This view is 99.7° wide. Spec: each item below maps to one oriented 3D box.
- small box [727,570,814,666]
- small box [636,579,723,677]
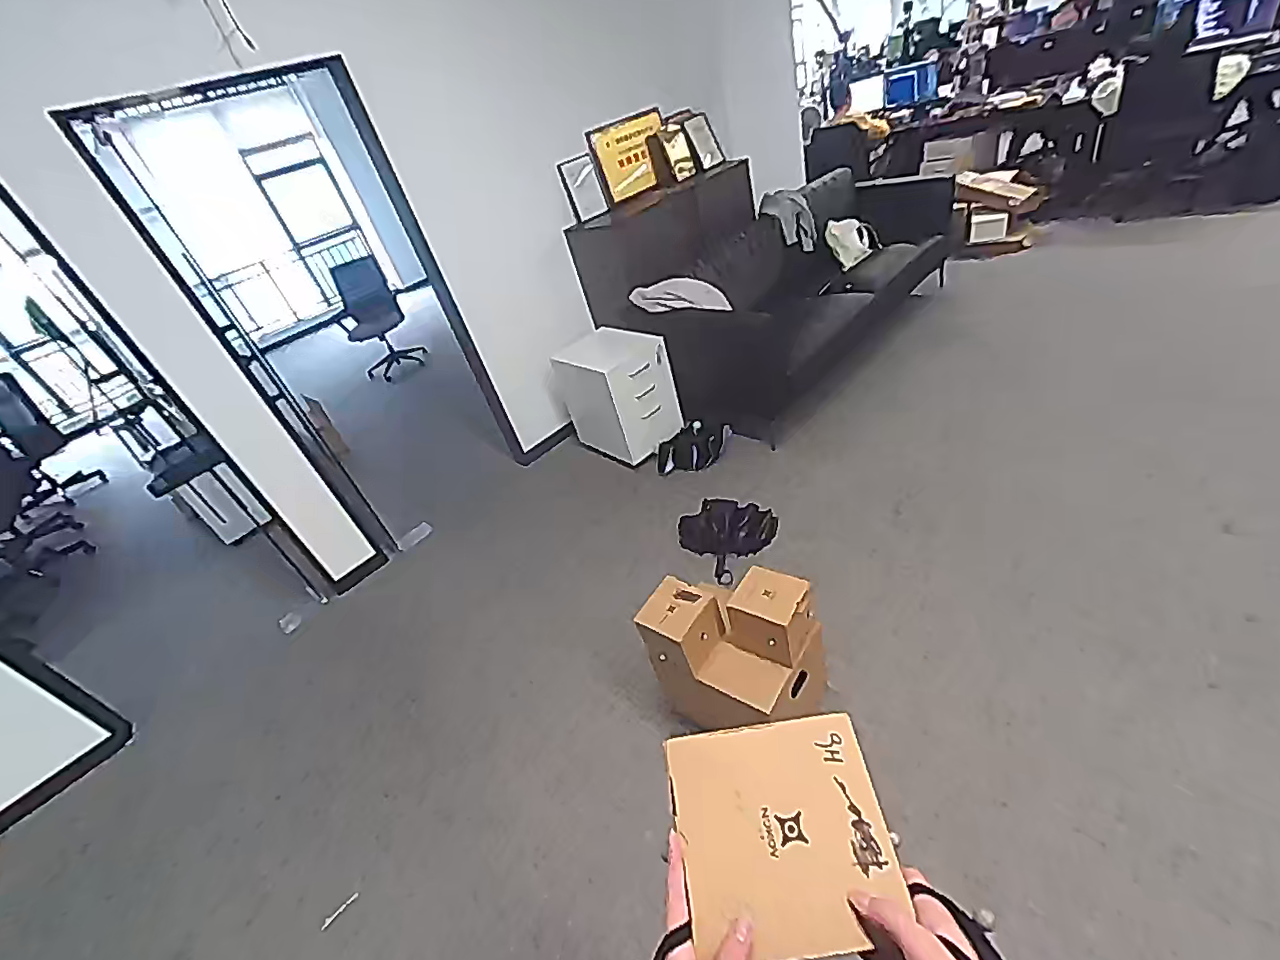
[{"bbox_3d":[0.362,0.379,1.477,0.179,0.176,0.168,10,40,37],"label":"small box"},{"bbox_3d":[0.120,0.418,1.533,0.168,0.176,0.179,15,49,40],"label":"small box"}]
